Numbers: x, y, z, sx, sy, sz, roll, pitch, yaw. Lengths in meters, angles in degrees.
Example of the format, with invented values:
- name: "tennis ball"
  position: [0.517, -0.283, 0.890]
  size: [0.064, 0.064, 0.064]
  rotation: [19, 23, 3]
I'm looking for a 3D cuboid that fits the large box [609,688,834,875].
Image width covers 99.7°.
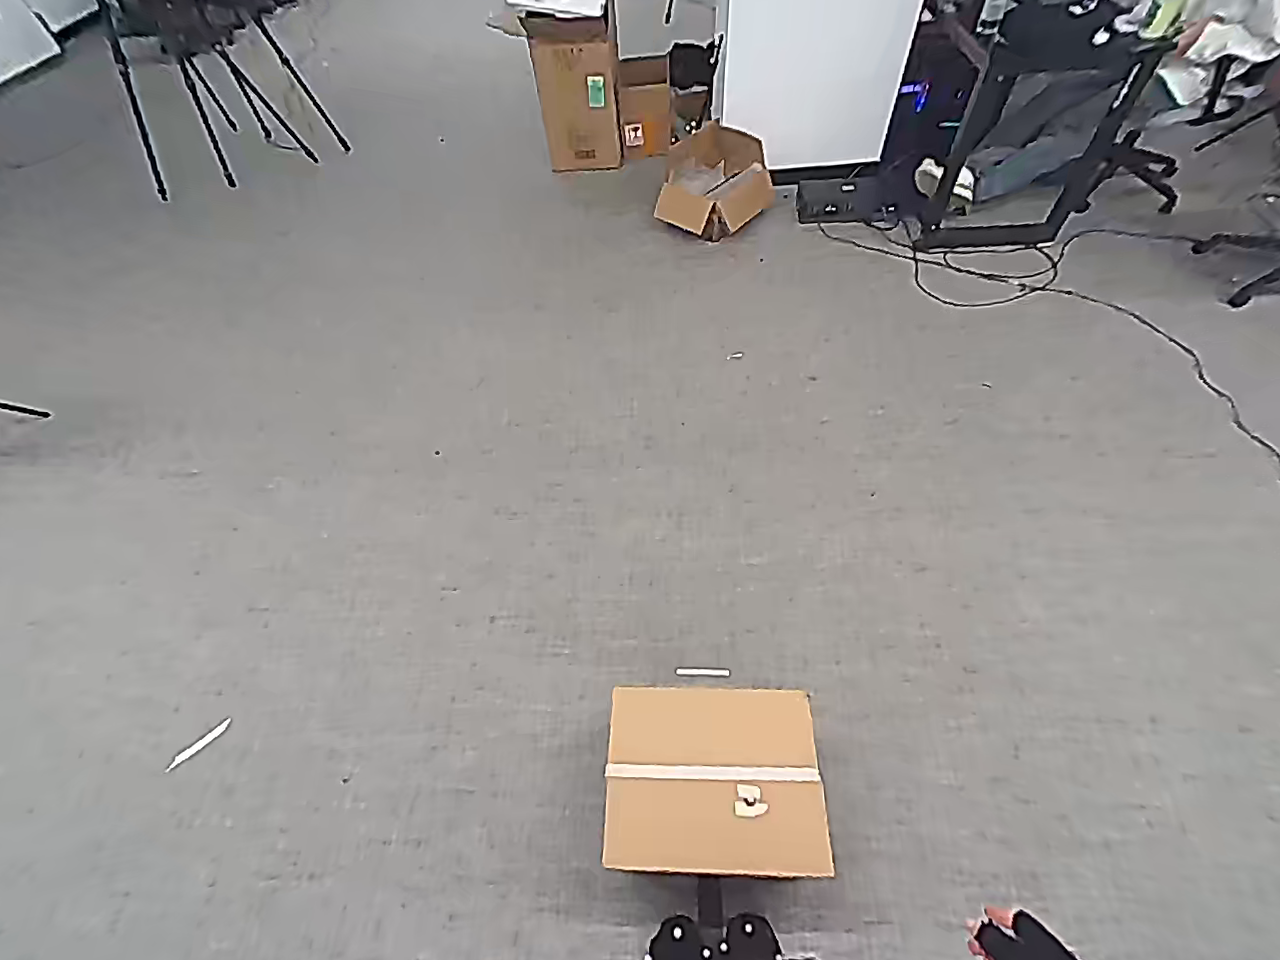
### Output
- name: "large box"
  position: [0.149, 0.646, 1.151]
  size: [0.408, 0.320, 0.320]
  rotation: [0, 54, 3]
